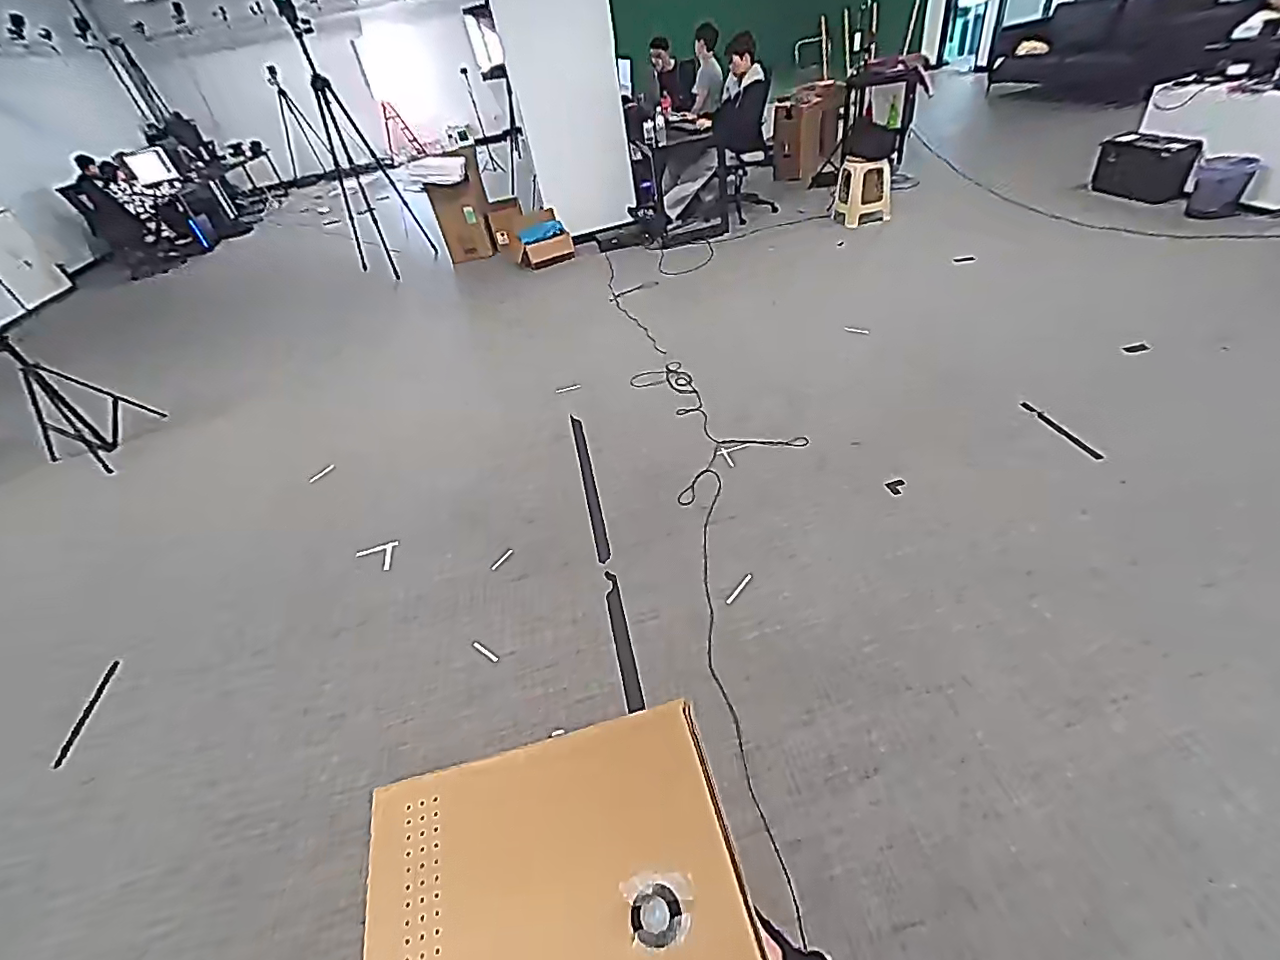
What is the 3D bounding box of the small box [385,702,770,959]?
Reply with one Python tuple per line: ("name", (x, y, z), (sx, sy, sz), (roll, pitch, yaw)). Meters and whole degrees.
("small box", (-0.028, 0.255, 0.296), (0.176, 0.168, 0.179), (-14, 51, -5))
